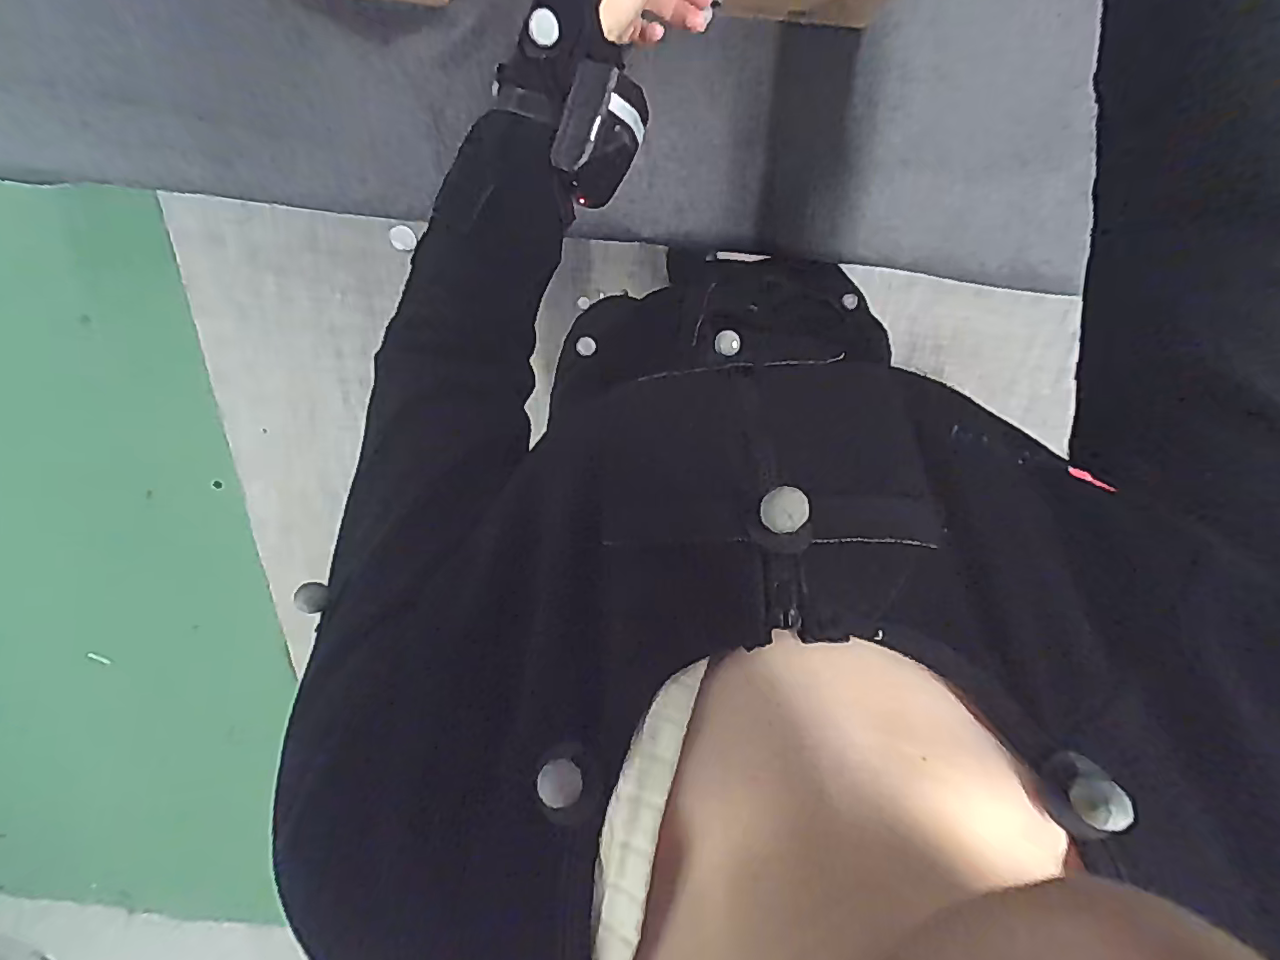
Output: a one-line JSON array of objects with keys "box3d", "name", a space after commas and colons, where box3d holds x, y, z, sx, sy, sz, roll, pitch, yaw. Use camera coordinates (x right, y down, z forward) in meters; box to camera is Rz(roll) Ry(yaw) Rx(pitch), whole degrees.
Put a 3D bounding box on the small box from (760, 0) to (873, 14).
[{"box3d": [0.104, -0.417, 0.323, 0.168, 0.176, 0.179, 5, 115, 0], "name": "small box"}]
